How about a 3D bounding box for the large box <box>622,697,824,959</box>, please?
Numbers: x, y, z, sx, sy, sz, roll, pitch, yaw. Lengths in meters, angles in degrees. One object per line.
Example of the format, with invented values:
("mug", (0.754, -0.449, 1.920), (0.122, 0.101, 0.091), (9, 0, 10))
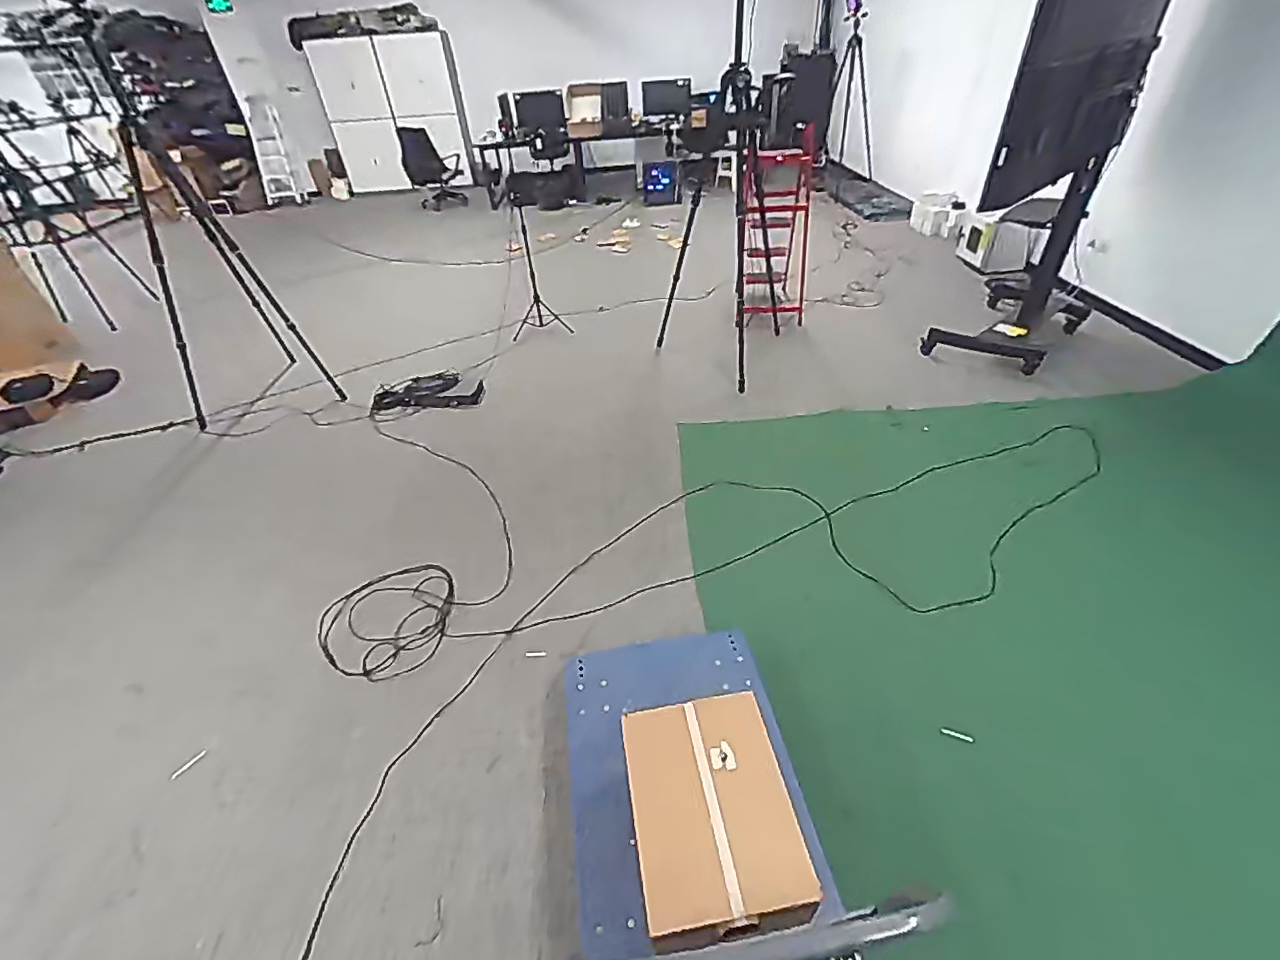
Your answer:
("large box", (0.154, 0.762, 1.175), (0.320, 0.320, 0.408), (-8, 38, -5))
